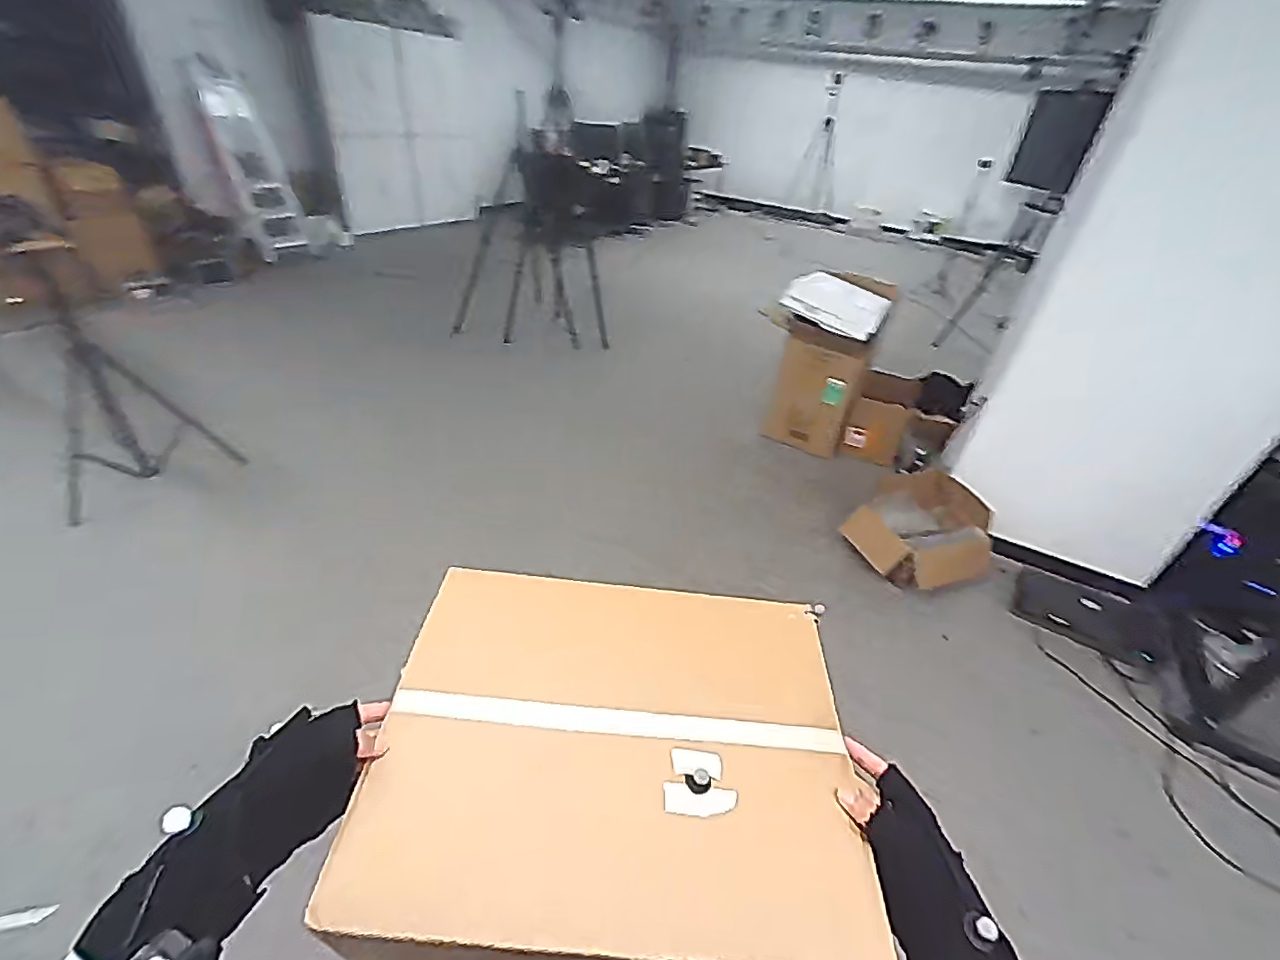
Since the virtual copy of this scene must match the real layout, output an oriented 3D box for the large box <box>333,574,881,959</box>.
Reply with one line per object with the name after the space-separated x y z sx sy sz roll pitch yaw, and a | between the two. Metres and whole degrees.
-0.033 0.334 0.590 0.408 0.320 0.320 6 40 -2 | large box
